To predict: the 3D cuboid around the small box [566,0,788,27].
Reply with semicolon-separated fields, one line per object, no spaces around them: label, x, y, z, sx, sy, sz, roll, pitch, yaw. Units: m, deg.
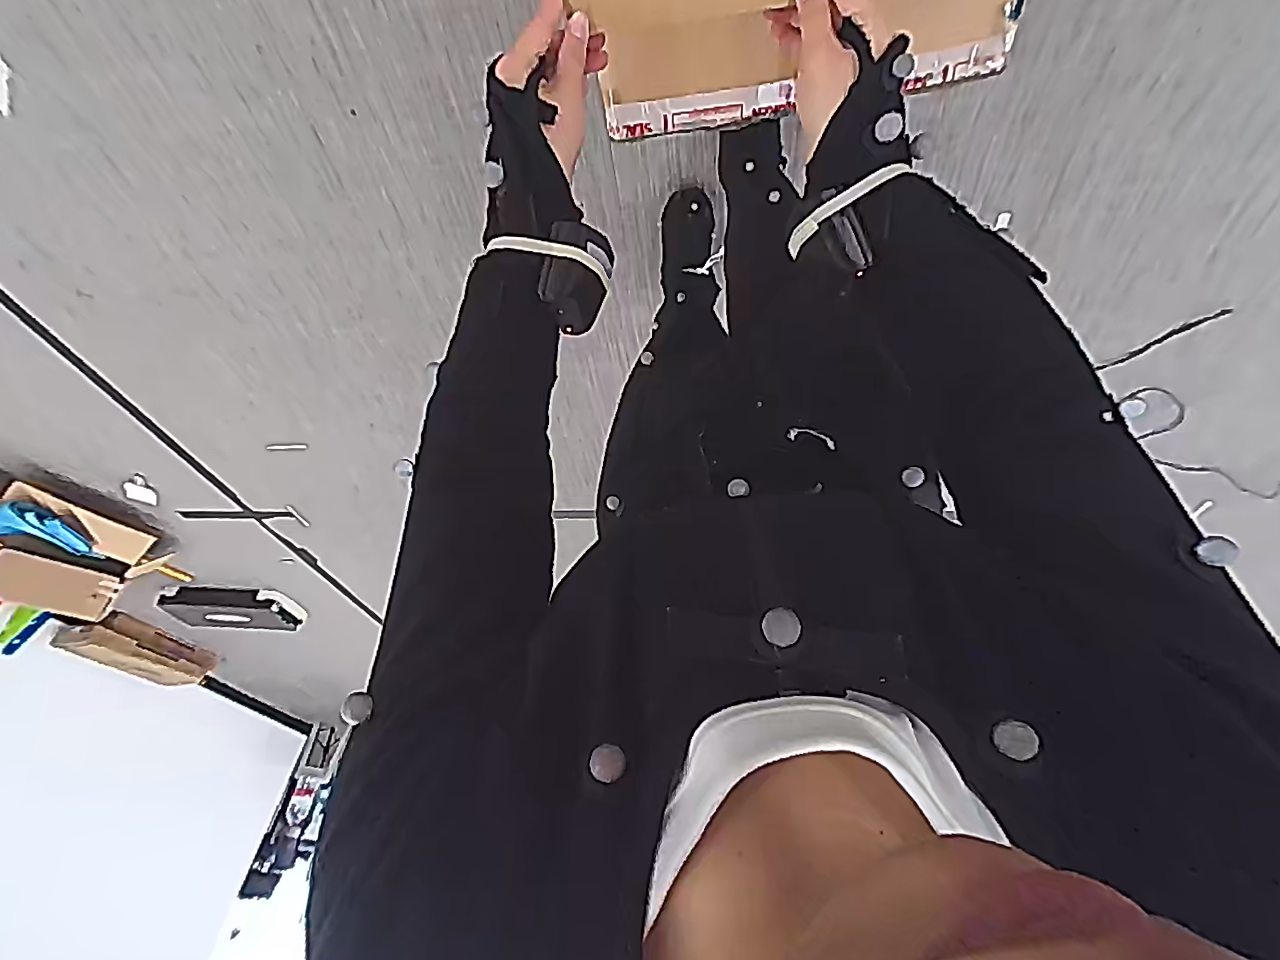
small box;0.023;-0.430;0.344;0.168;0.176;0.179;-4;143;5
